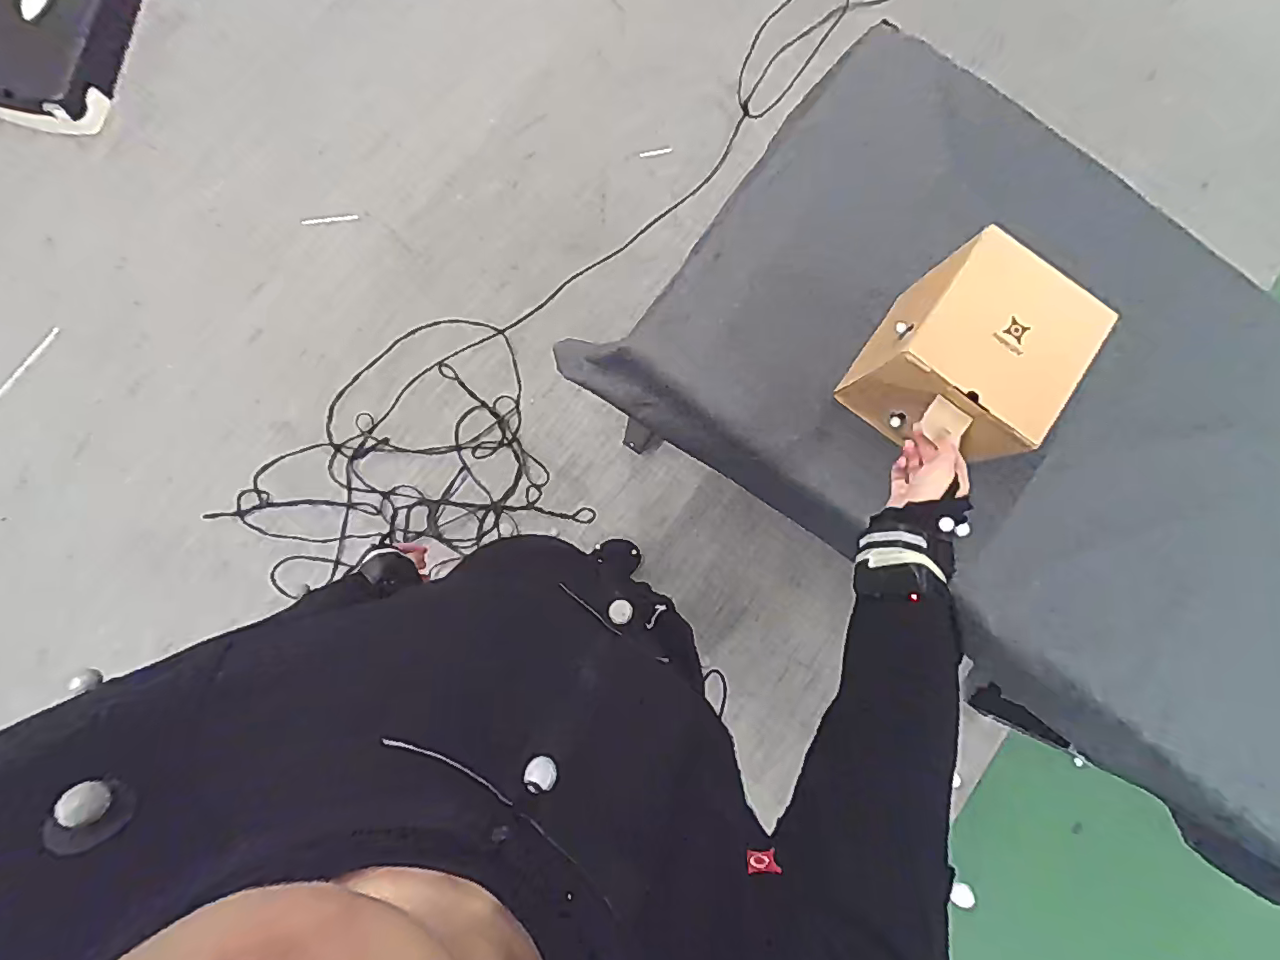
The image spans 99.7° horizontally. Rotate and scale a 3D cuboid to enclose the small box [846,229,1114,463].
[{"bbox_3d":[0.377,-0.140,0.632,0.168,0.176,0.179,36,83,-1],"label":"small box"}]
